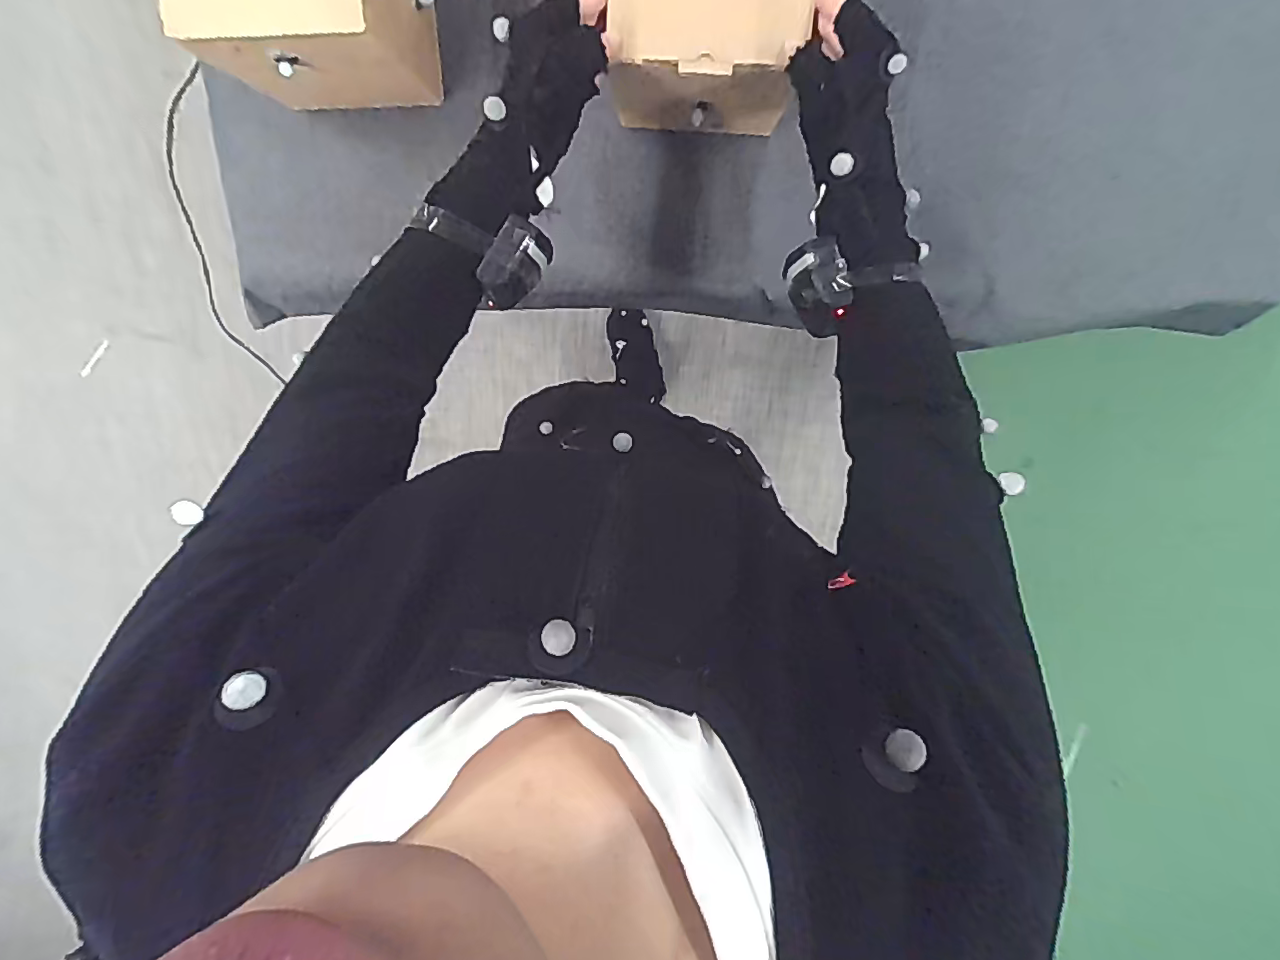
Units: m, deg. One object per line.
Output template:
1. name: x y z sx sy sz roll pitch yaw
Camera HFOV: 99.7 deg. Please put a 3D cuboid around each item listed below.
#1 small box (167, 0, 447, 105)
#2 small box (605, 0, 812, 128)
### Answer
1. small box: -0.305 -0.475 0.507 0.179 0.176 0.168 0 108 3
2. small box: 0.064 -0.445 0.493 0.168 0.176 0.179 5 108 2
